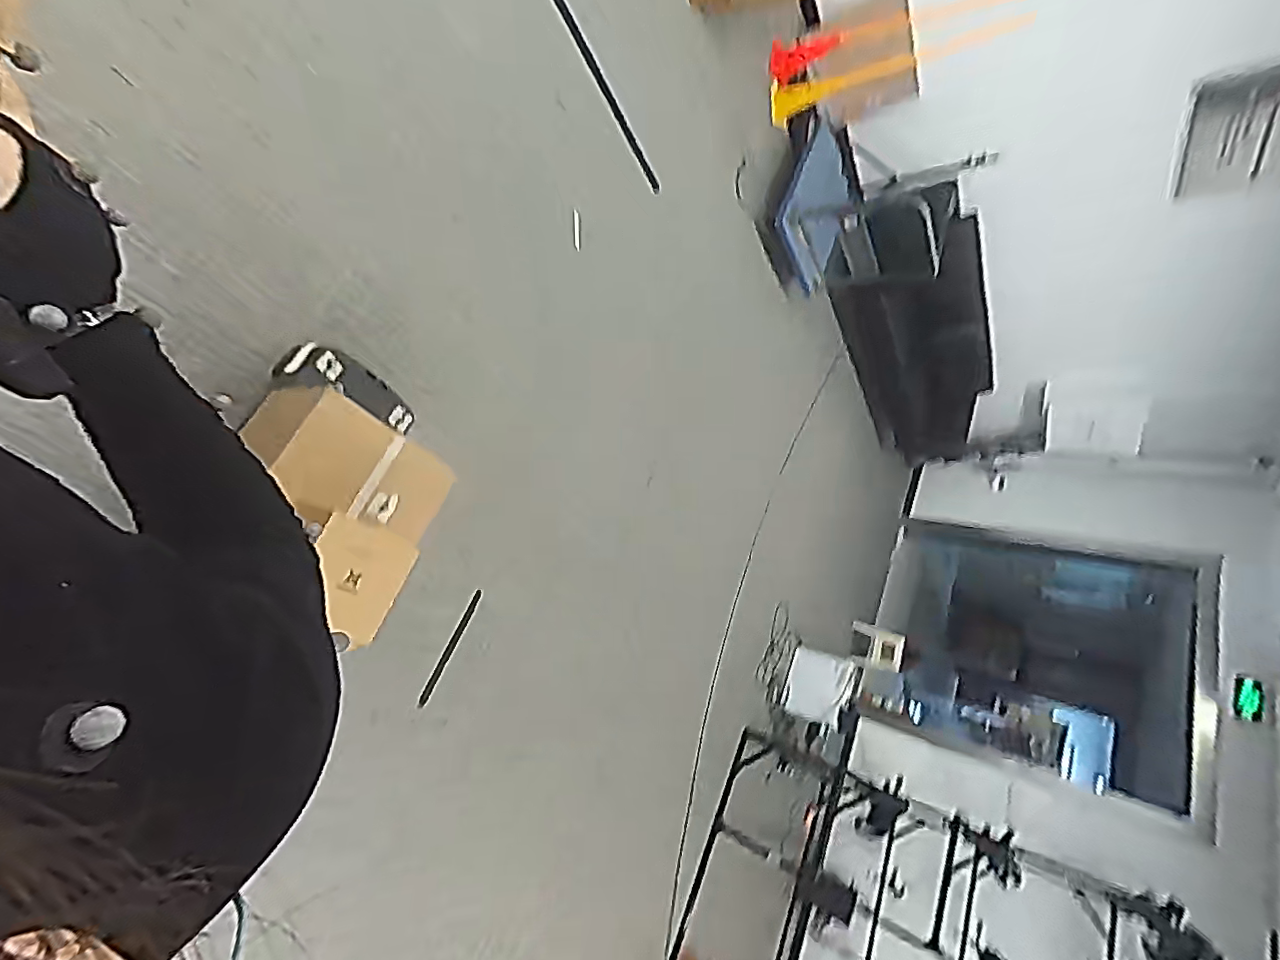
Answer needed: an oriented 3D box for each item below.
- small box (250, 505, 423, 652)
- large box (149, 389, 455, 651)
[{"bbox_3d":[-0.508,0.159,0.902,0.168,0.176,0.179,43,61,-44],"label":"small box"},{"bbox_3d":[-0.664,0.074,1.089,0.320,0.320,0.408,46,60,-45],"label":"large box"}]
